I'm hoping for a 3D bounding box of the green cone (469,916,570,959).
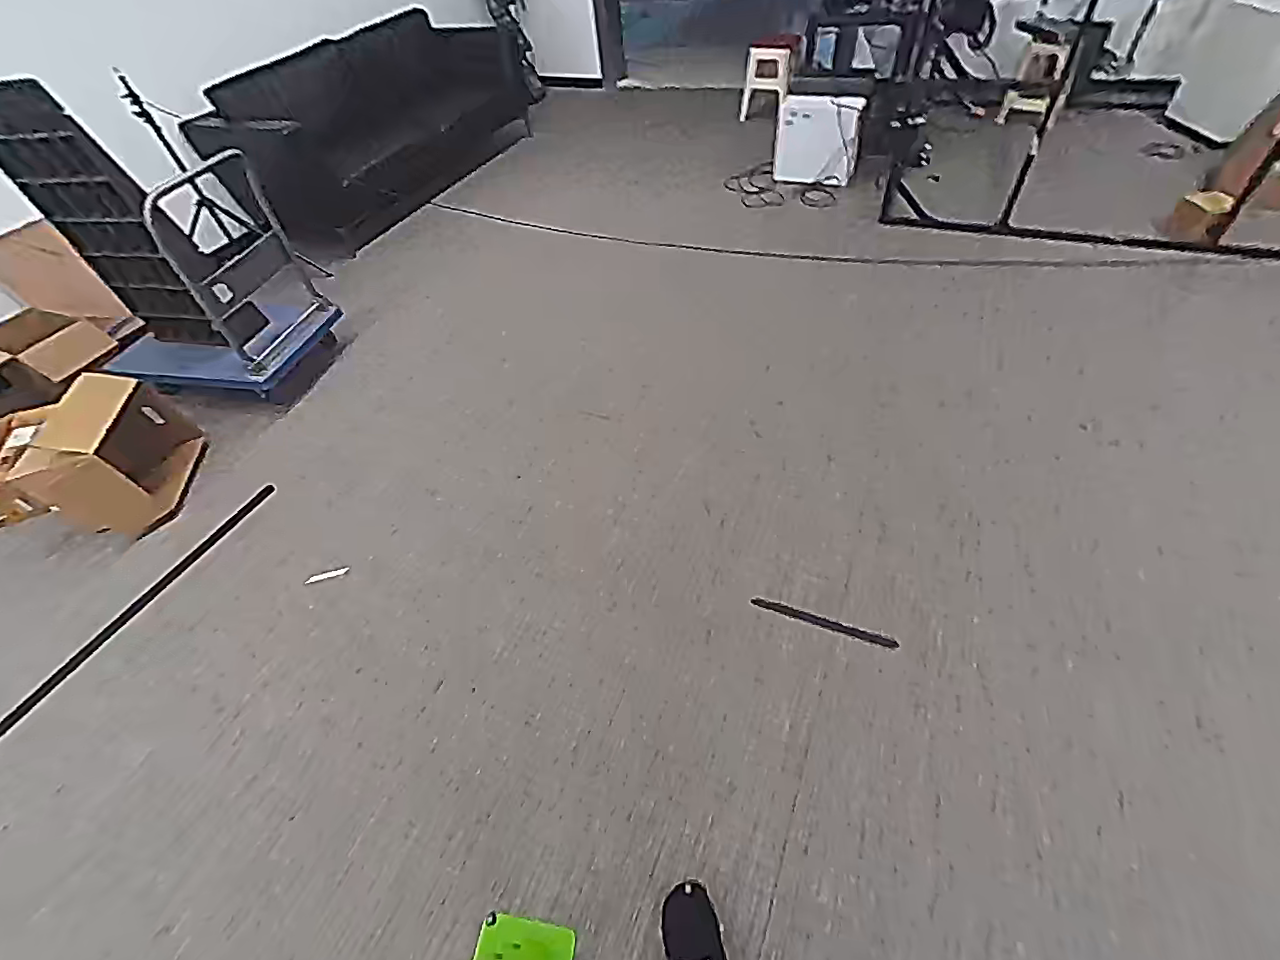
[{"bbox_3d":[-0.262,0.875,0.919,0.202,0.368,0.200,4,50,9],"label":"green cone"}]
